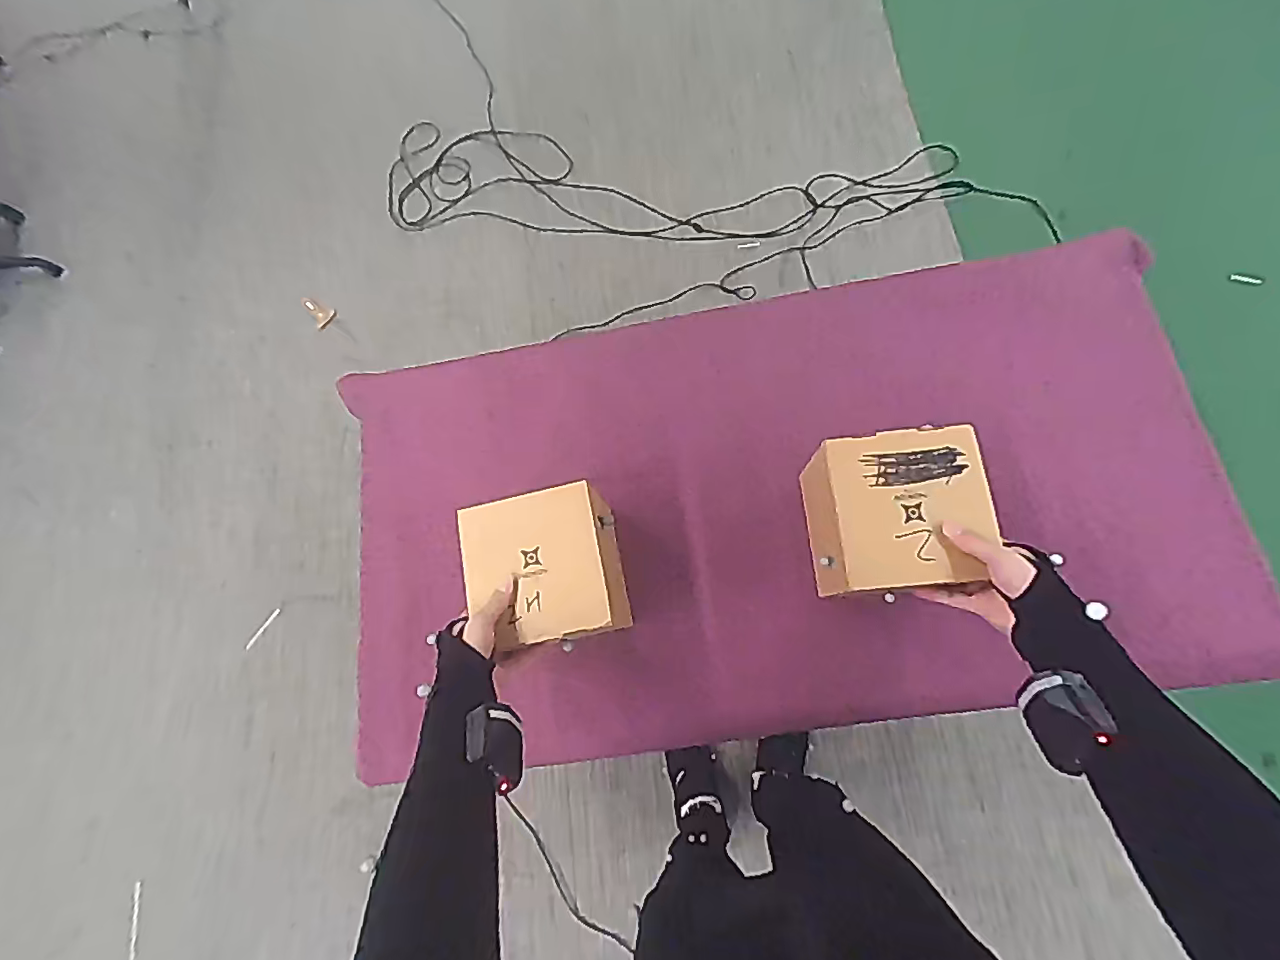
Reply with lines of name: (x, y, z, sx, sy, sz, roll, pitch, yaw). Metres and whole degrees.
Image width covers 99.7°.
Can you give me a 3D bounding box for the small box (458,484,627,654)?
small box: (-0.120, 0.125, 0.712, 0.168, 0.176, 0.179, -13, 73, 4)
